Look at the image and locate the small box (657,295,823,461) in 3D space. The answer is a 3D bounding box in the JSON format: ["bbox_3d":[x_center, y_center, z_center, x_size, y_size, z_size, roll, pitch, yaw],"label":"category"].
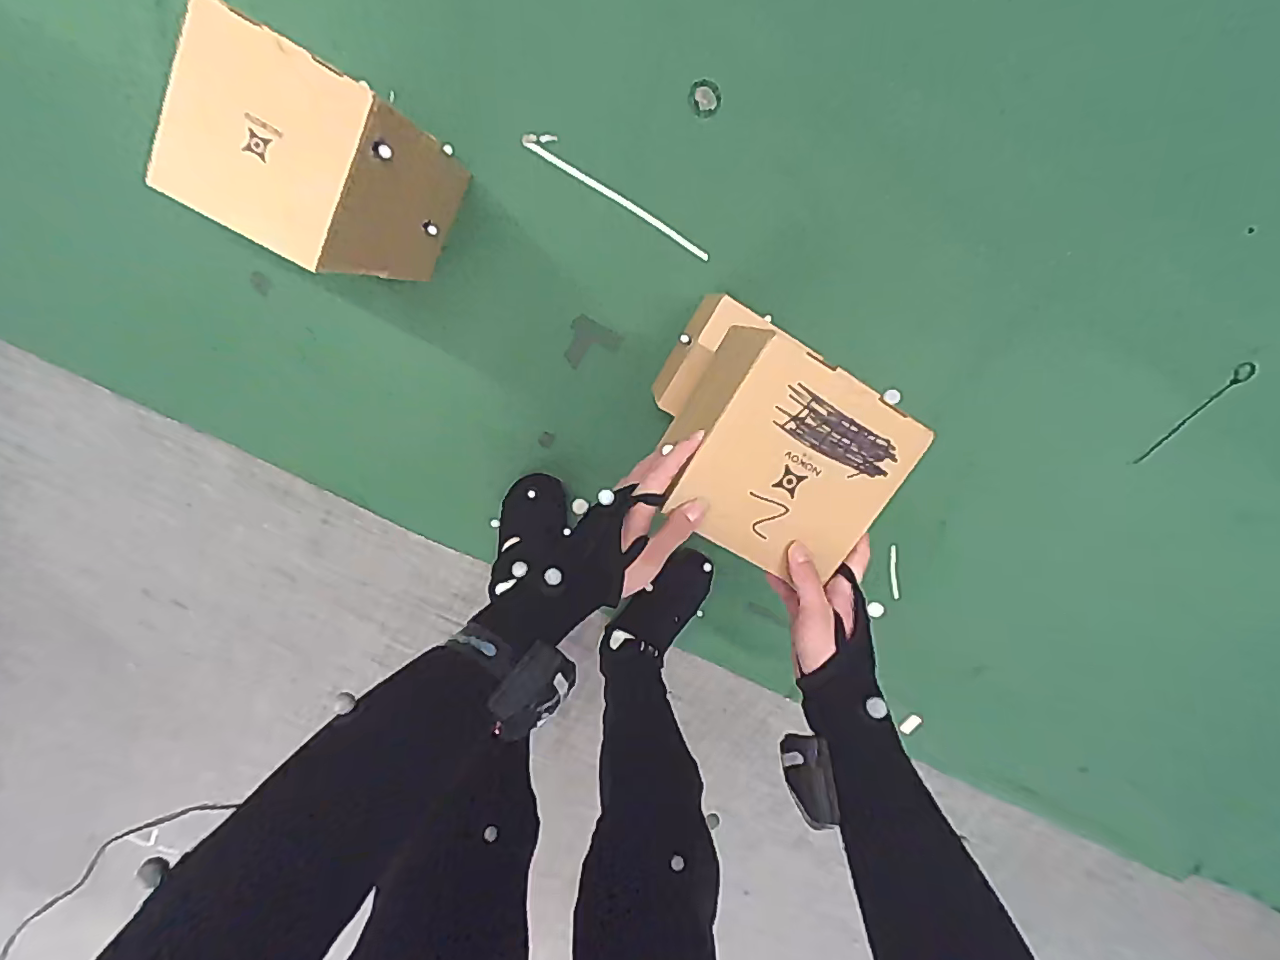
[{"bbox_3d":[0.135,-0.161,0.818,0.168,0.176,0.179,29,106,-11],"label":"small box"}]

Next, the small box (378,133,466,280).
[{"bbox_3d":[-0.355,-0.390,0.728,0.168,0.176,0.179,28,106,-9],"label":"small box"}]

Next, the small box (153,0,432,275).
[{"bbox_3d":[-0.349,-0.338,0.576,0.168,0.176,0.179,27,105,-9],"label":"small box"}]
